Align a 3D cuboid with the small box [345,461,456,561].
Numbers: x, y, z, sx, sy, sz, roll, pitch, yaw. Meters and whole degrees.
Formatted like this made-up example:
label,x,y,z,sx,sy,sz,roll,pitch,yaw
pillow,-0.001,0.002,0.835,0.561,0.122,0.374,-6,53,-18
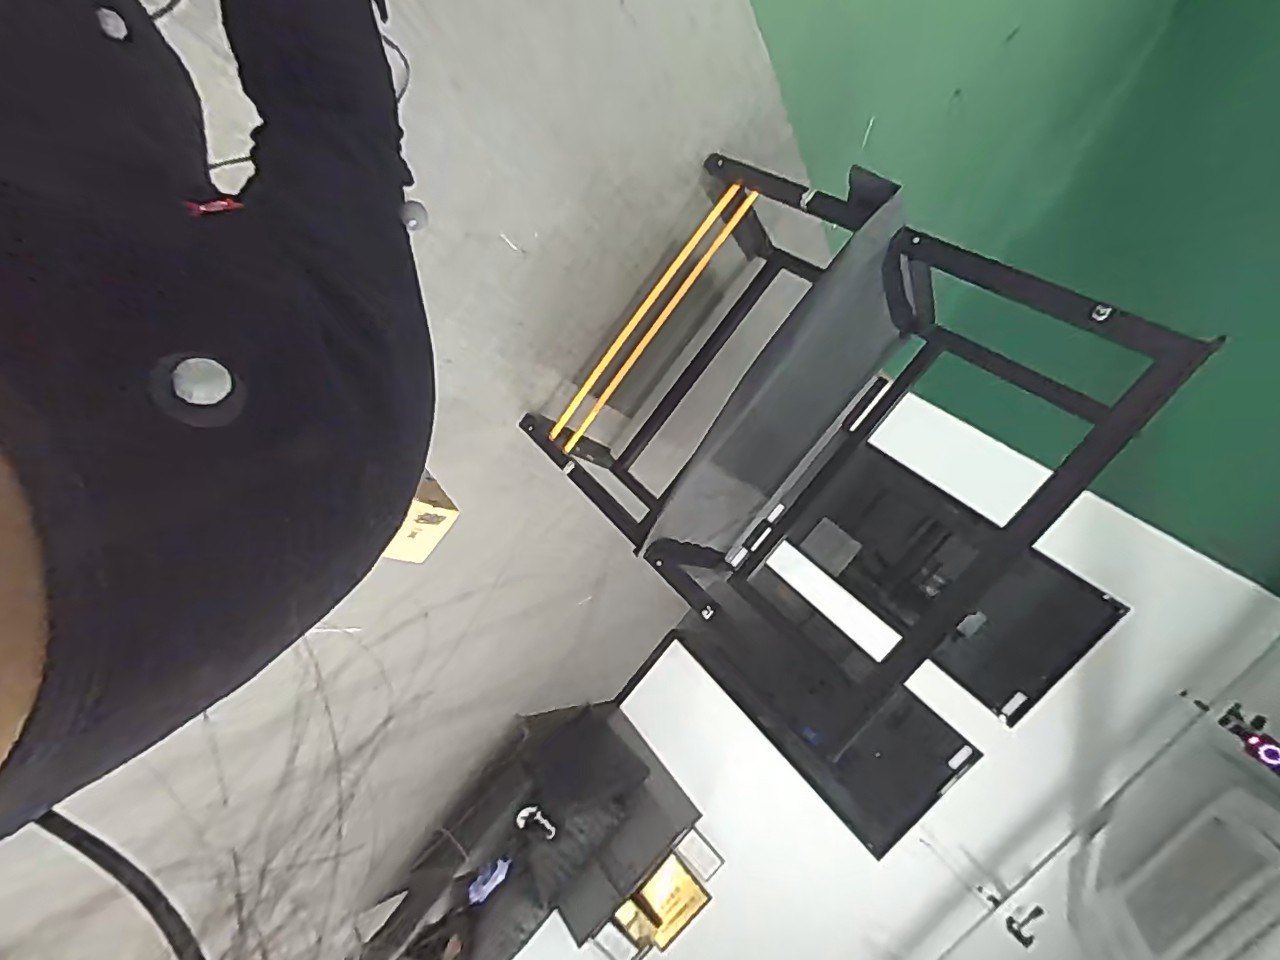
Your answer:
label,x,y,z,sx,sy,sz,roll,pitch,yaw
small box,-0.612,0.078,1.373,0.179,0.176,0.168,-50,148,6
